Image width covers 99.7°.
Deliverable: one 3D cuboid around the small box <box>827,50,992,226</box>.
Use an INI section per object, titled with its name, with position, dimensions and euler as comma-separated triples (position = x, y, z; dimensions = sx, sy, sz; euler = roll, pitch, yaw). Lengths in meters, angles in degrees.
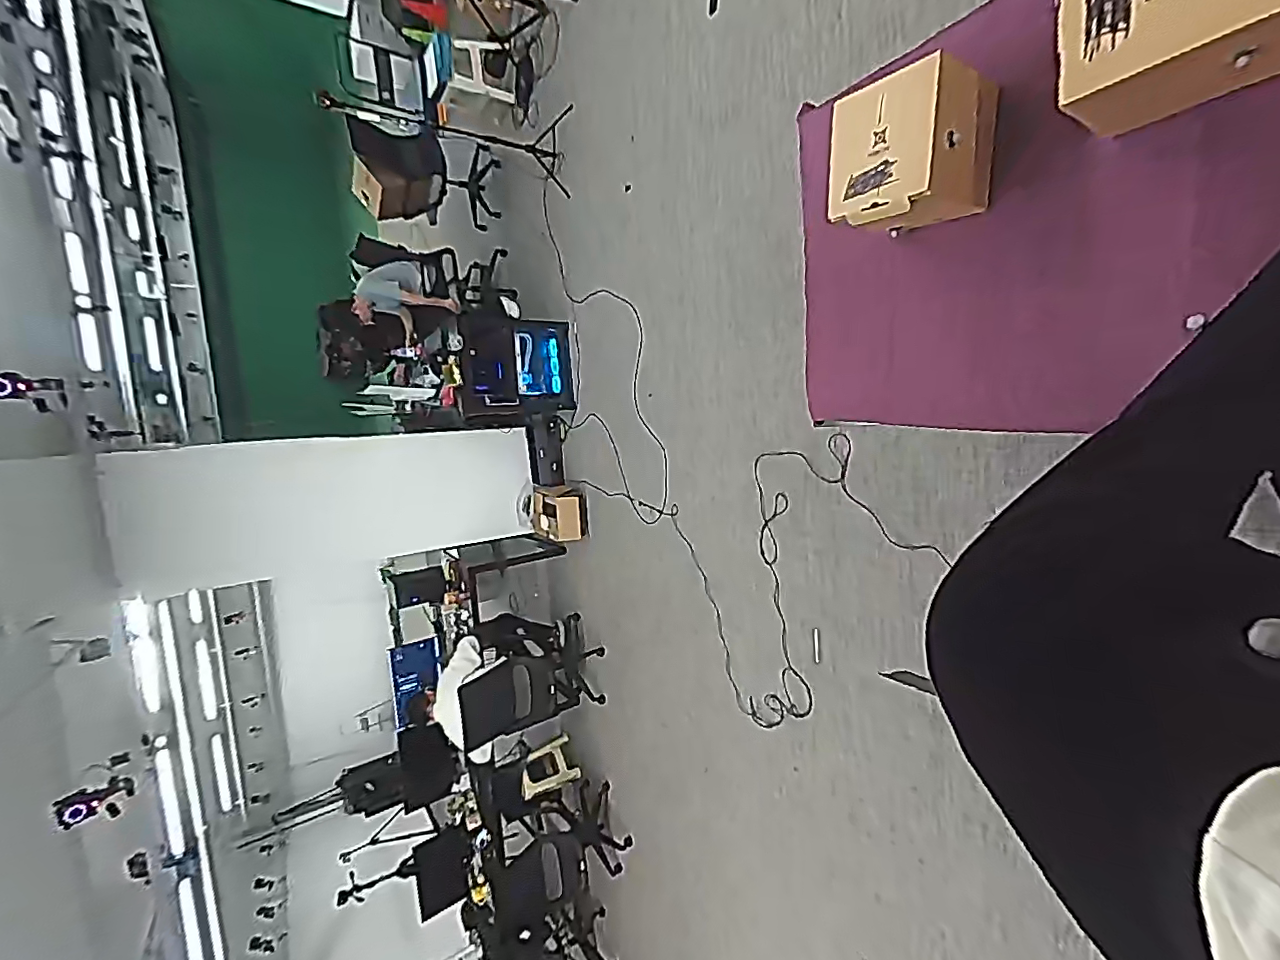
[small box]
position = 0.409, -0.499, 0.825
dimensions = 0.168, 0.176, 0.179
euler = 14, 109, 54
